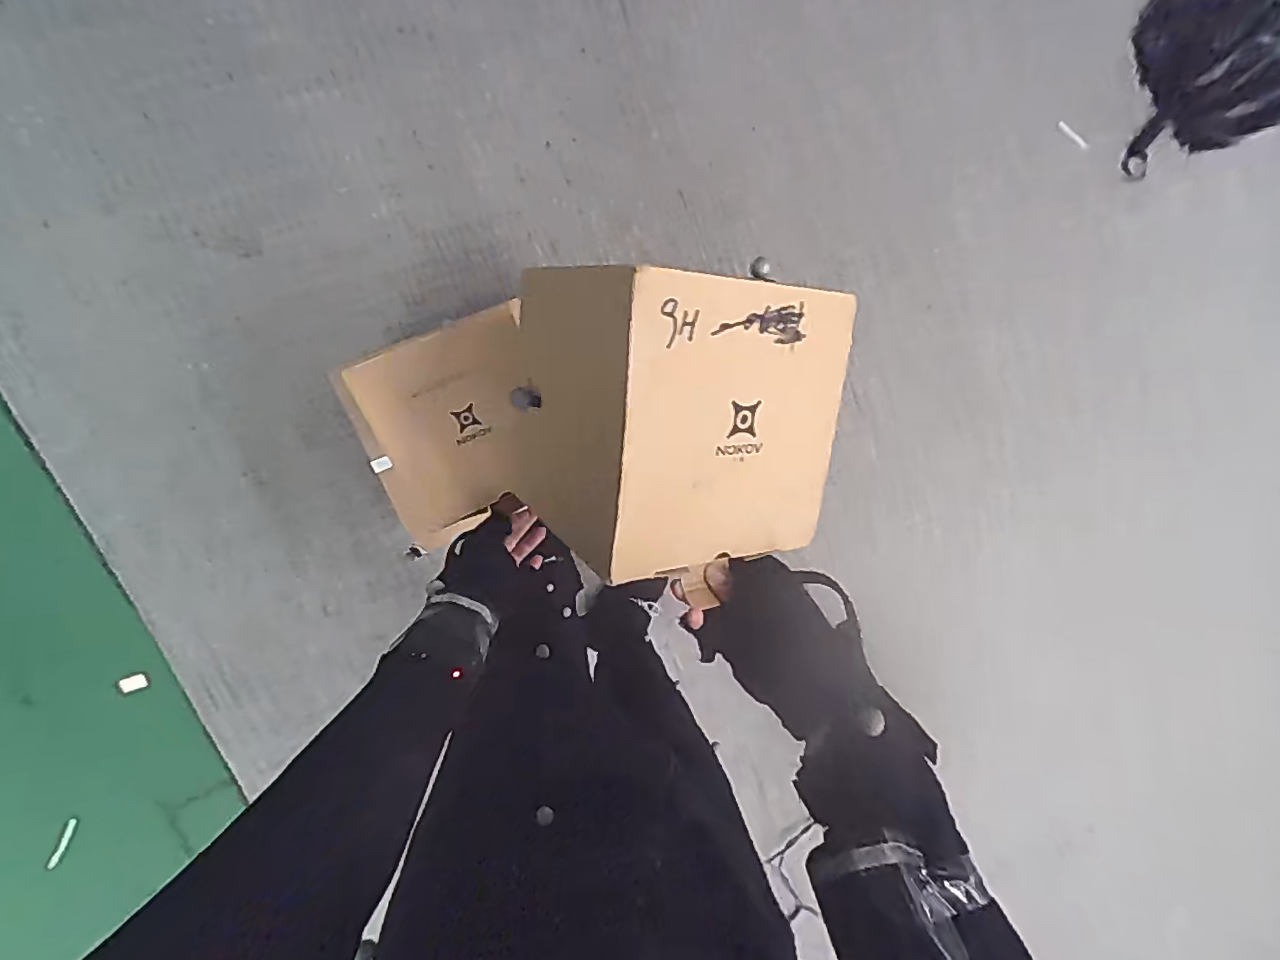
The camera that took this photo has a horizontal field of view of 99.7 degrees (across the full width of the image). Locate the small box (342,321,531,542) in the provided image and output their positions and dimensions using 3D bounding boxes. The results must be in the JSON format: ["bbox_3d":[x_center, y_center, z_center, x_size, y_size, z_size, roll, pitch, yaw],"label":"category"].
[{"bbox_3d":[-0.188,-0.062,0.607,0.168,0.176,0.179,-27,107,-7],"label":"small box"}]

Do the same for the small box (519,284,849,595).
[{"bbox_3d":[0.016,-0.043,0.399,0.168,0.176,0.179,-5,111,-31],"label":"small box"}]
